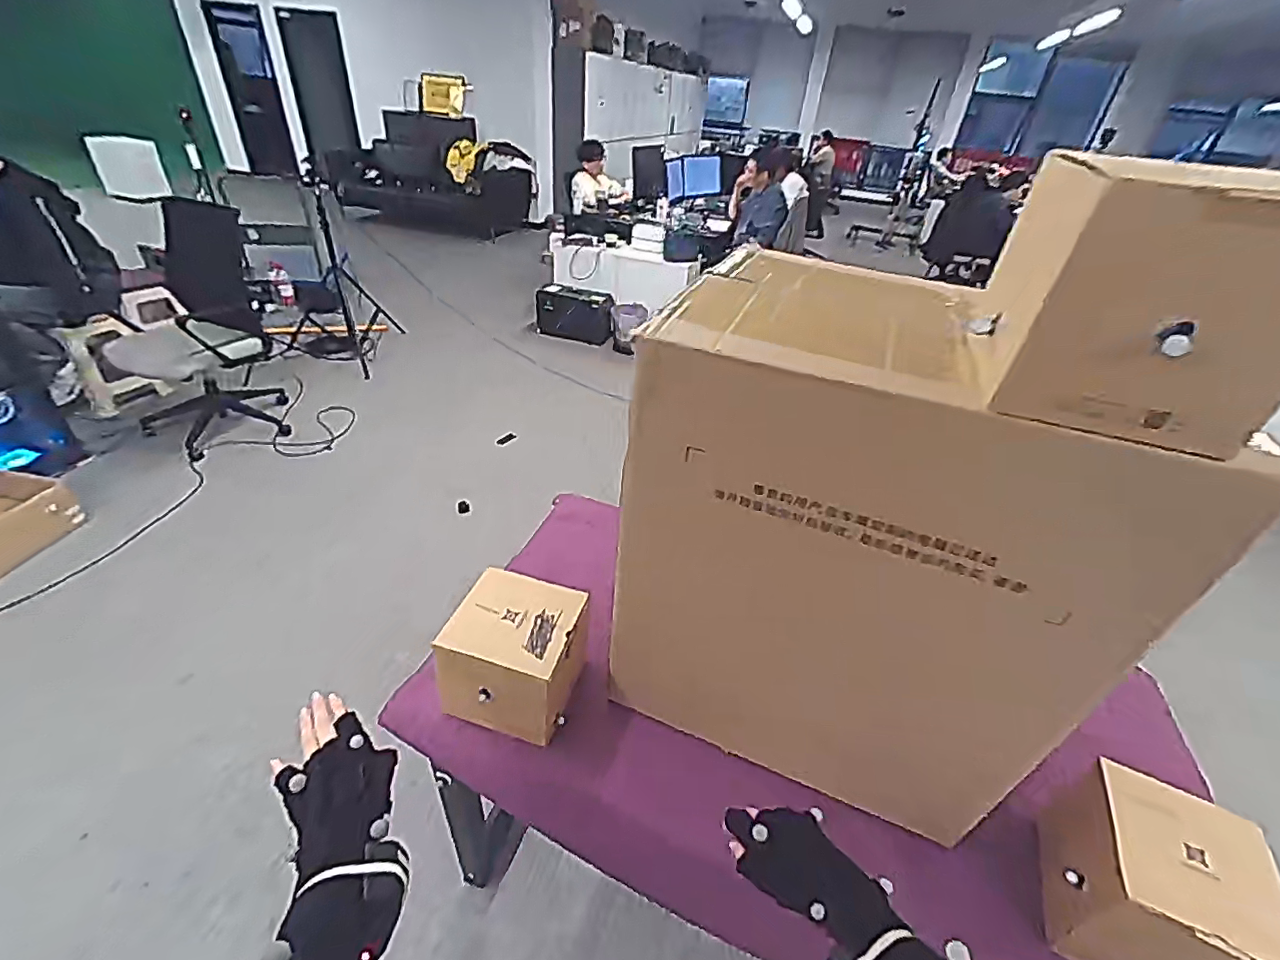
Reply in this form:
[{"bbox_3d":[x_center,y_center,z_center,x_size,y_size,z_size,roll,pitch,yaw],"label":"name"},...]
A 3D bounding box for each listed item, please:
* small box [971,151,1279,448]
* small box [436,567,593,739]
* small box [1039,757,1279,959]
[{"bbox_3d":[0.389,-0.147,0.425,0.168,0.176,0.179,15,39,14],"label":"small box"},{"bbox_3d":[-0.185,0.267,0.836,0.179,0.176,0.168,14,35,9],"label":"small box"},{"bbox_3d":[0.614,0.487,0.645,0.168,0.176,0.179,20,36,19],"label":"small box"}]
